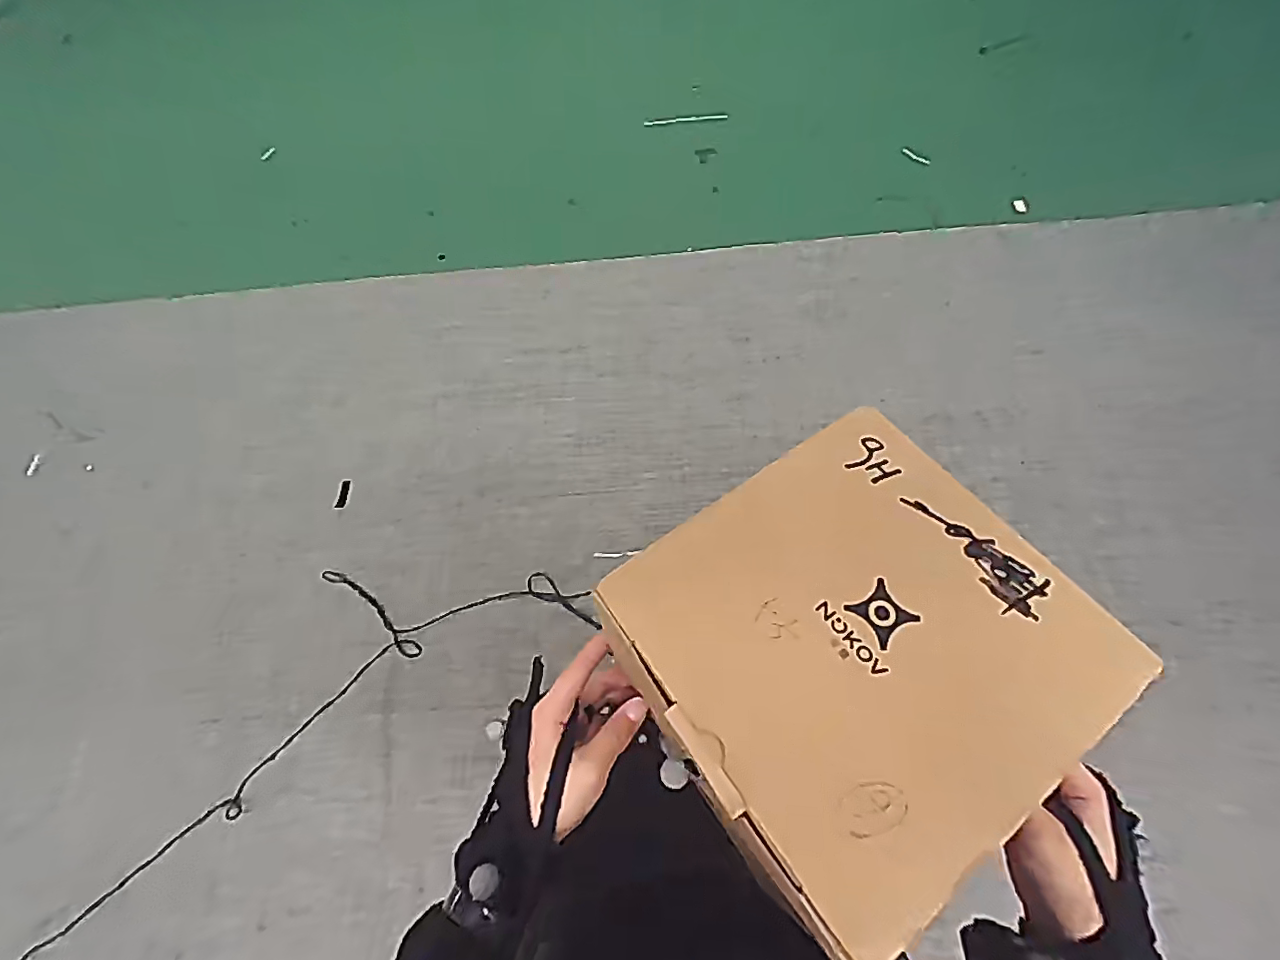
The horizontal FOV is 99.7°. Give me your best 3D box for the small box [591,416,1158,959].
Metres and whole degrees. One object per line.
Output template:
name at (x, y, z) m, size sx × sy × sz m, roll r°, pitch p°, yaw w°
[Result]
small box at (0.096, 0.105, 0.298) m, size 0.179 × 0.176 × 0.168 m, roll -32°, pitch 64°, yaw -14°
